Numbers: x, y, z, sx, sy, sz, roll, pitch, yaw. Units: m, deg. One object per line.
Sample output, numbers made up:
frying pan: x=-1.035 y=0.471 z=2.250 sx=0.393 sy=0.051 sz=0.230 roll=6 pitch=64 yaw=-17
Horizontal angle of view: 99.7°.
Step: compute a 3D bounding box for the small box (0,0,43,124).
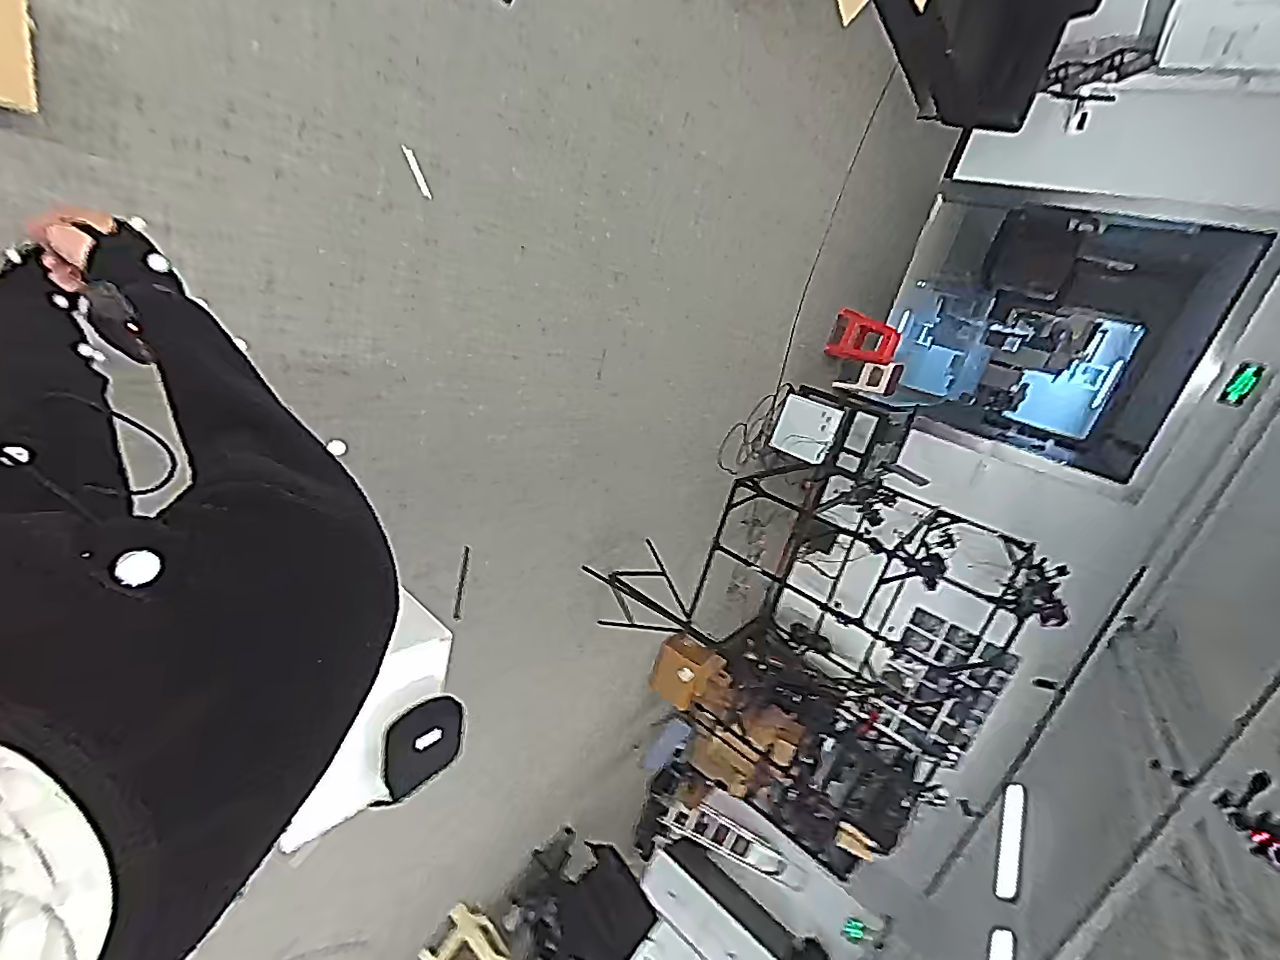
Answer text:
small box: x=-1.051 y=-0.673 z=0.820 sx=0.168 sy=0.176 sz=0.179 roll=-11 pitch=123 yaw=-51
